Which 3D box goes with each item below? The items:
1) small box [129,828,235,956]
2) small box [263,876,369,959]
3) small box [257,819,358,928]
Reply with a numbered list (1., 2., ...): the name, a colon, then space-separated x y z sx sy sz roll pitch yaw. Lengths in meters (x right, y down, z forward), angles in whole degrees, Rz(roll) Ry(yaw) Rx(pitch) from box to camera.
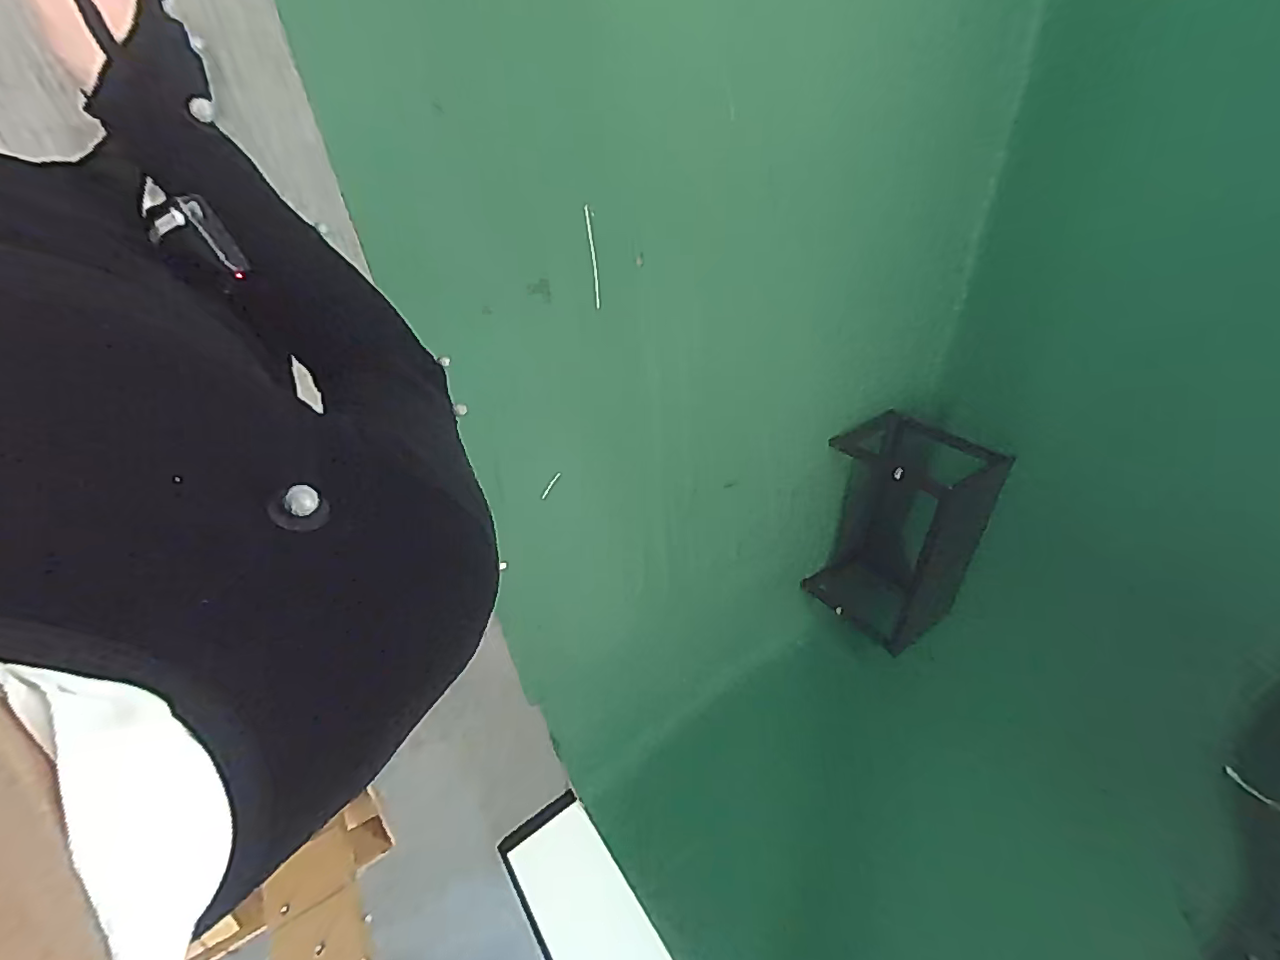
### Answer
1. small box: -1.150 1.026 1.365 0.168 0.176 0.179 -14 126 -31
2. small box: -0.750 1.082 1.254 0.179 0.176 0.168 -20 129 -28
3. small box: -0.842 1.010 1.369 0.179 0.176 0.168 -17 127 -29
